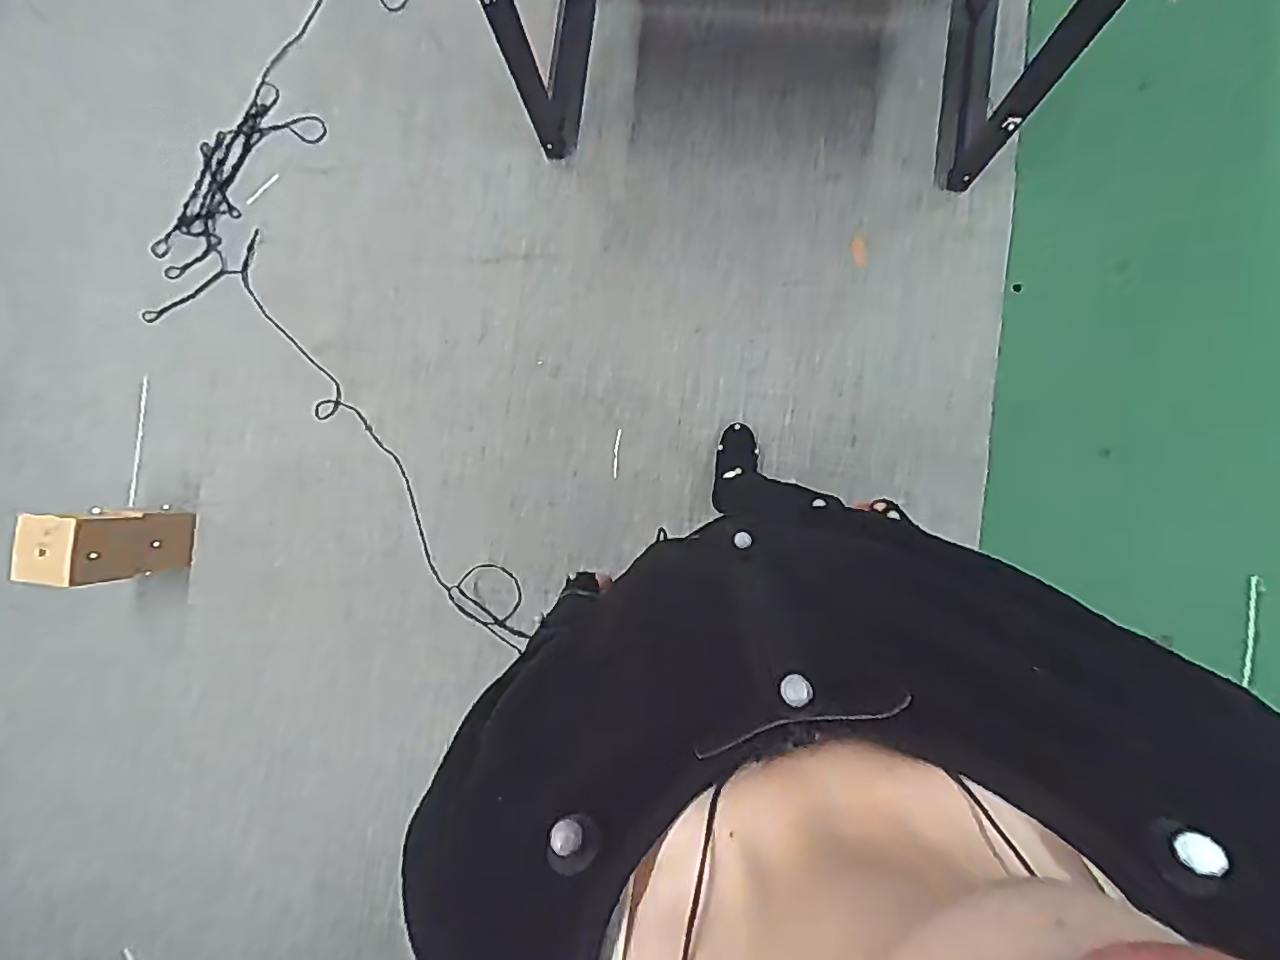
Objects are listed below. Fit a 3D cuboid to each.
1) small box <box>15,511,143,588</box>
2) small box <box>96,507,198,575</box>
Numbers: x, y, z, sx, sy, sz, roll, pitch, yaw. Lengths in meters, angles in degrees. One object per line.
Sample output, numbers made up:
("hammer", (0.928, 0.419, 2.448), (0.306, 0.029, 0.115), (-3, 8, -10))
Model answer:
("small box", (-1.480, 0.179, 1.437), (0.168, 0.176, 0.179), (5, 88, 6))
("small box", (-1.461, 0.176, 1.600), (0.168, 0.176, 0.179), (5, 88, 6))
